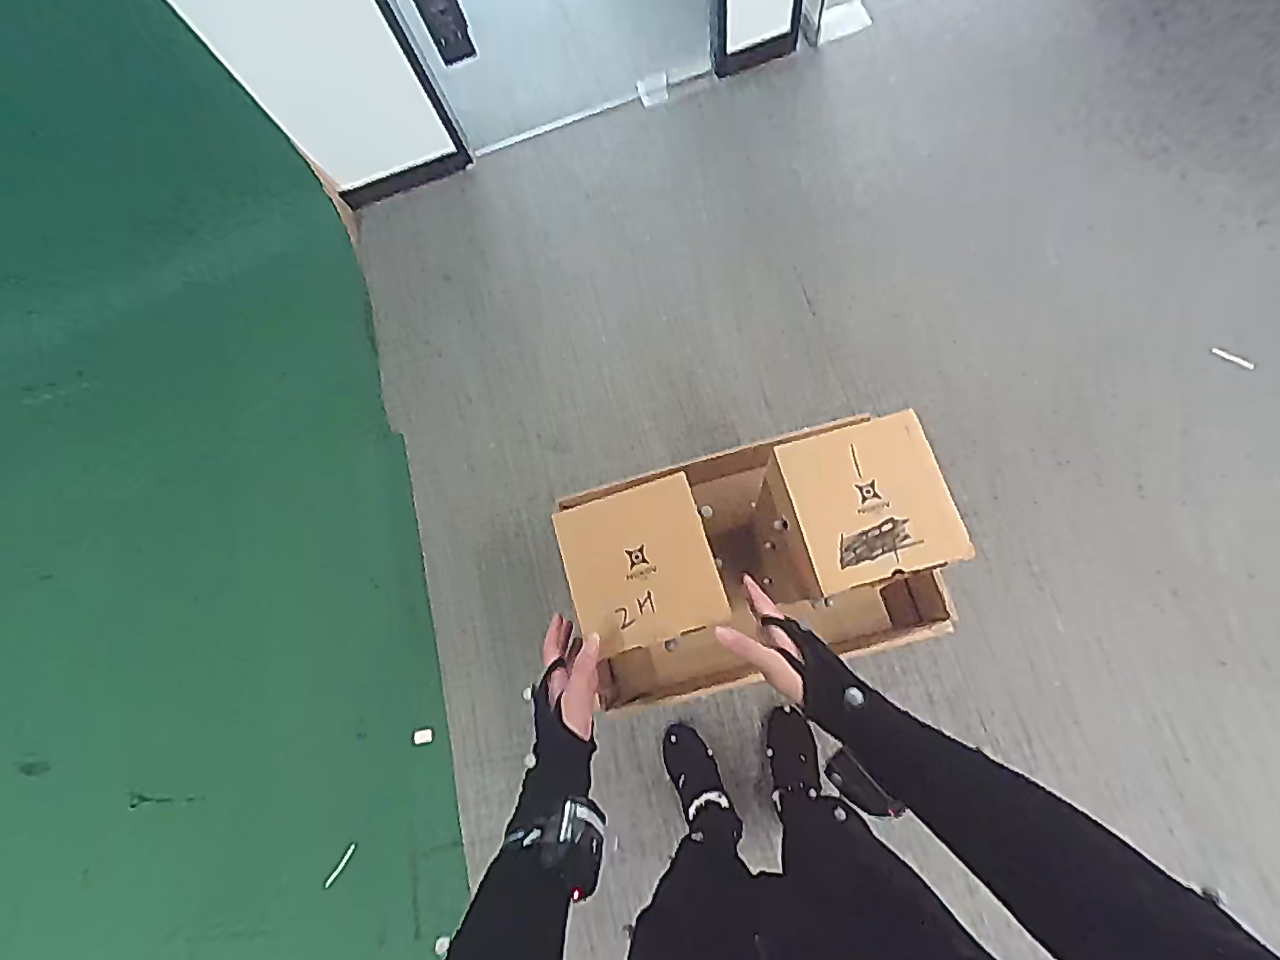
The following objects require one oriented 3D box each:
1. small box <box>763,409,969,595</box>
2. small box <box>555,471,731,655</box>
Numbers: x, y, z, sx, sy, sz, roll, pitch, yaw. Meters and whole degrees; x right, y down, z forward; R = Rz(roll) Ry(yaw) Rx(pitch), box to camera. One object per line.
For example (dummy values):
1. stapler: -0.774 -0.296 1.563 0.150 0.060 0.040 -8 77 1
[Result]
1. small box: 0.260 0.040 0.668 0.168 0.176 0.179 -15 73 4
2. small box: 0.008 0.111 0.684 0.168 0.176 0.179 -18 74 4
